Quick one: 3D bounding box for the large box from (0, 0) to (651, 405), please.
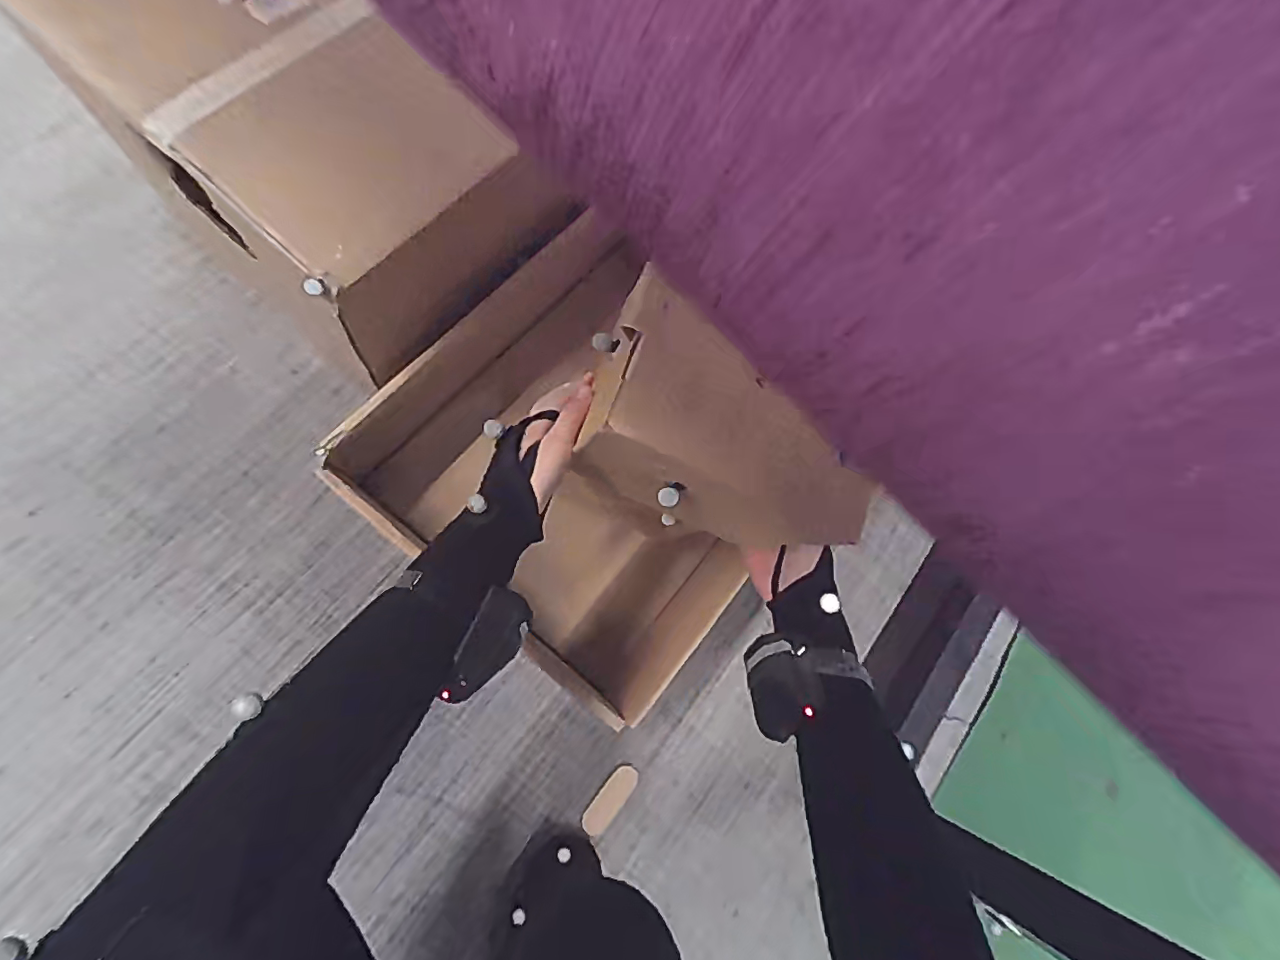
[{"bbox_3d":[-0.258,-0.354,0.580,0.320,0.320,0.408,42,74,-6],"label":"large box"}]
